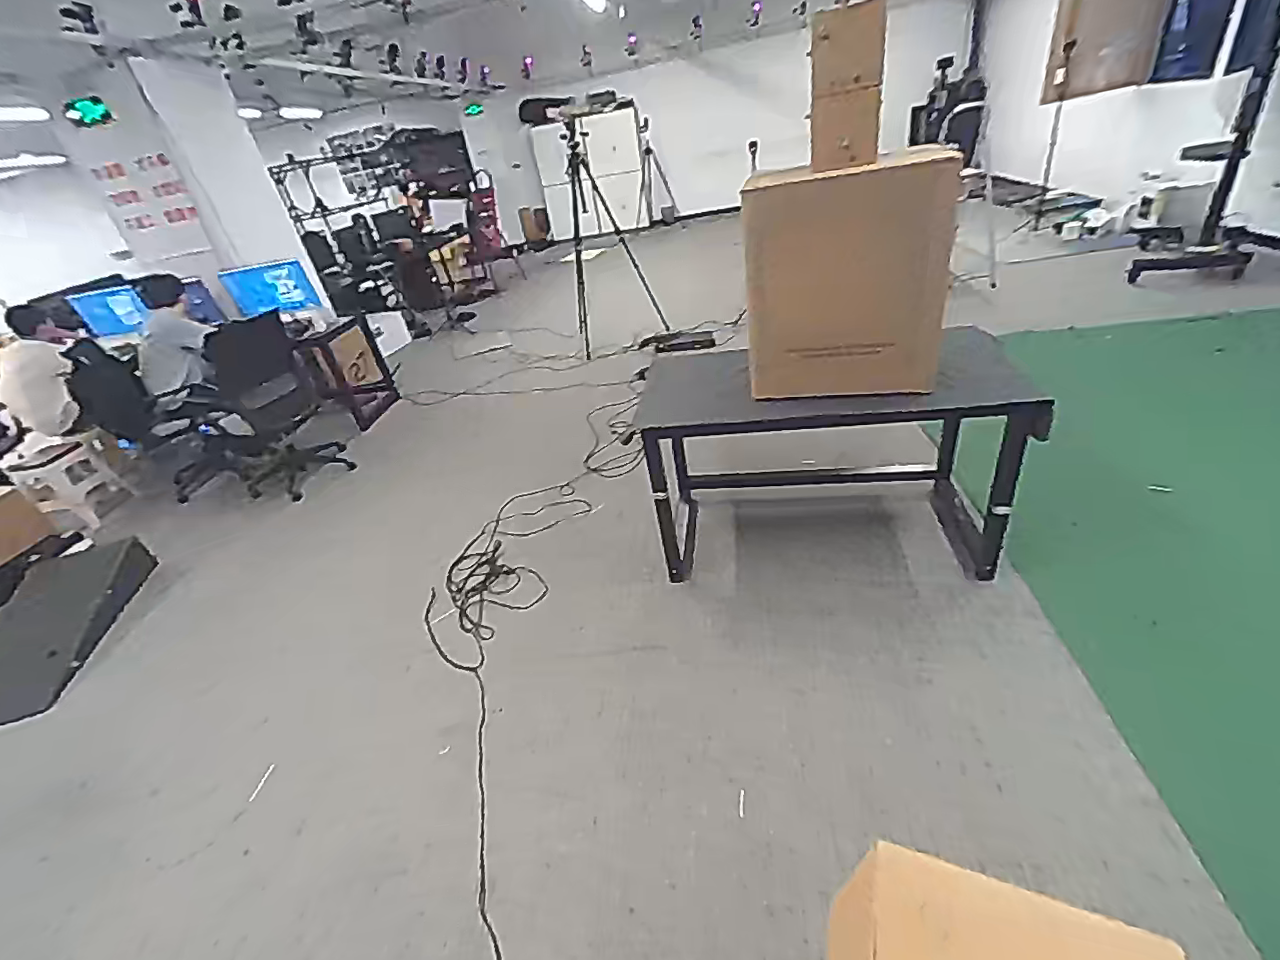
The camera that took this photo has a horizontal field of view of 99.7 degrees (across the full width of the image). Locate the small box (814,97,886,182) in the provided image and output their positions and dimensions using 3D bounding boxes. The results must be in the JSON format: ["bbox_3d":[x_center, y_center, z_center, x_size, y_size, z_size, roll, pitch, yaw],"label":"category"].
[{"bbox_3d":[0.556,-0.912,1.451,0.168,0.176,0.179,0,36,17],"label":"small box"}]
